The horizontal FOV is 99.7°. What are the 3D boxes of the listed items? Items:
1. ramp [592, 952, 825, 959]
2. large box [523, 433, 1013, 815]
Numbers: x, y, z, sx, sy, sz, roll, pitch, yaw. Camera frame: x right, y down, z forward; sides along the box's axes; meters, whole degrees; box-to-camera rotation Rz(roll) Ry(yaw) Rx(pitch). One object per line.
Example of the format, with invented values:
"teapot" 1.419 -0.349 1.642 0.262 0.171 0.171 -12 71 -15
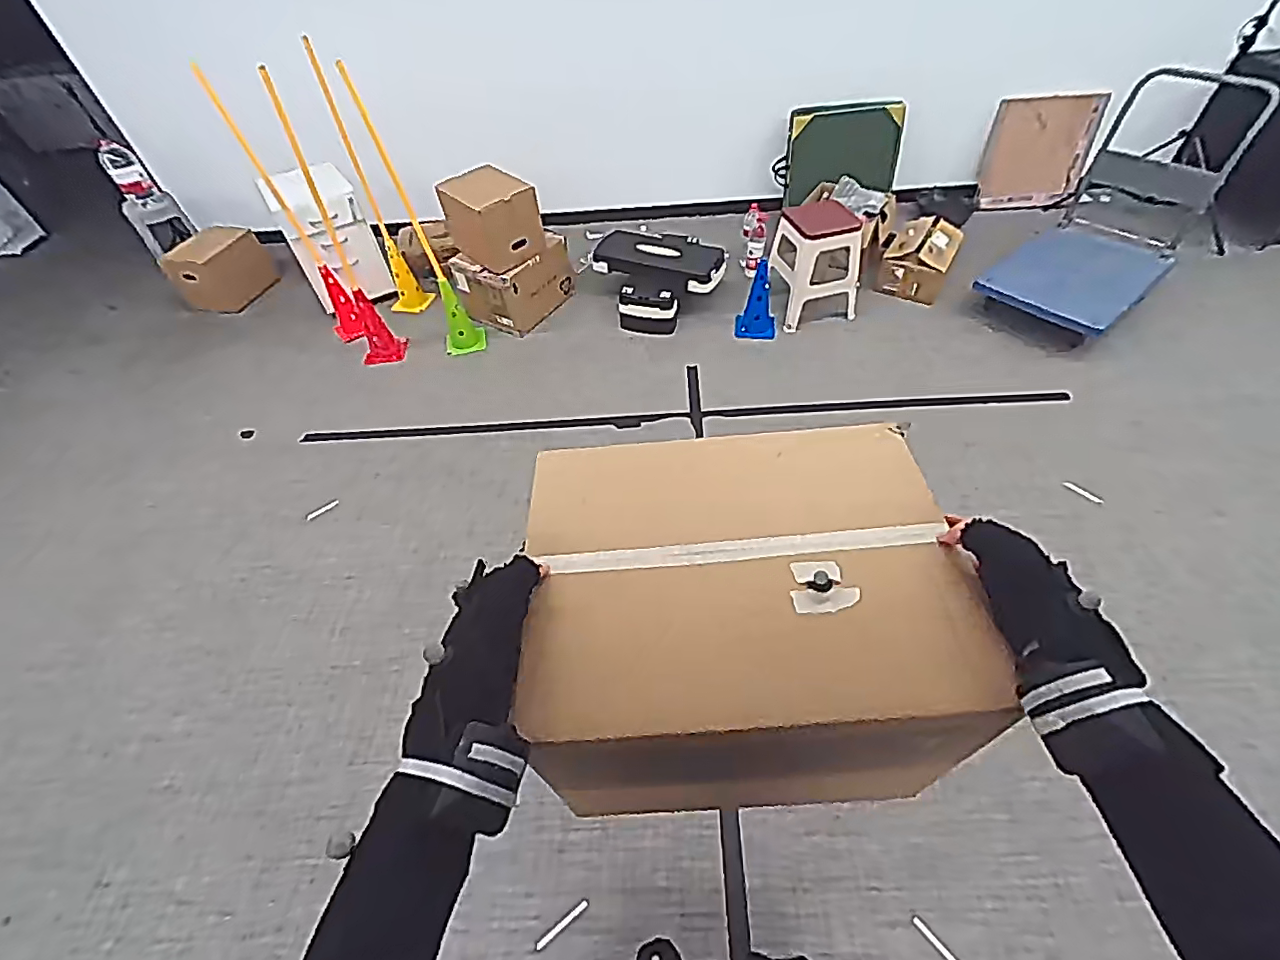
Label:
"ramp" 0.150 1.403 0.860 0.509 0.206 0.991 -4 50 1
"large box" 0.103 0.176 0.639 0.408 0.320 0.320 -5 49 2
